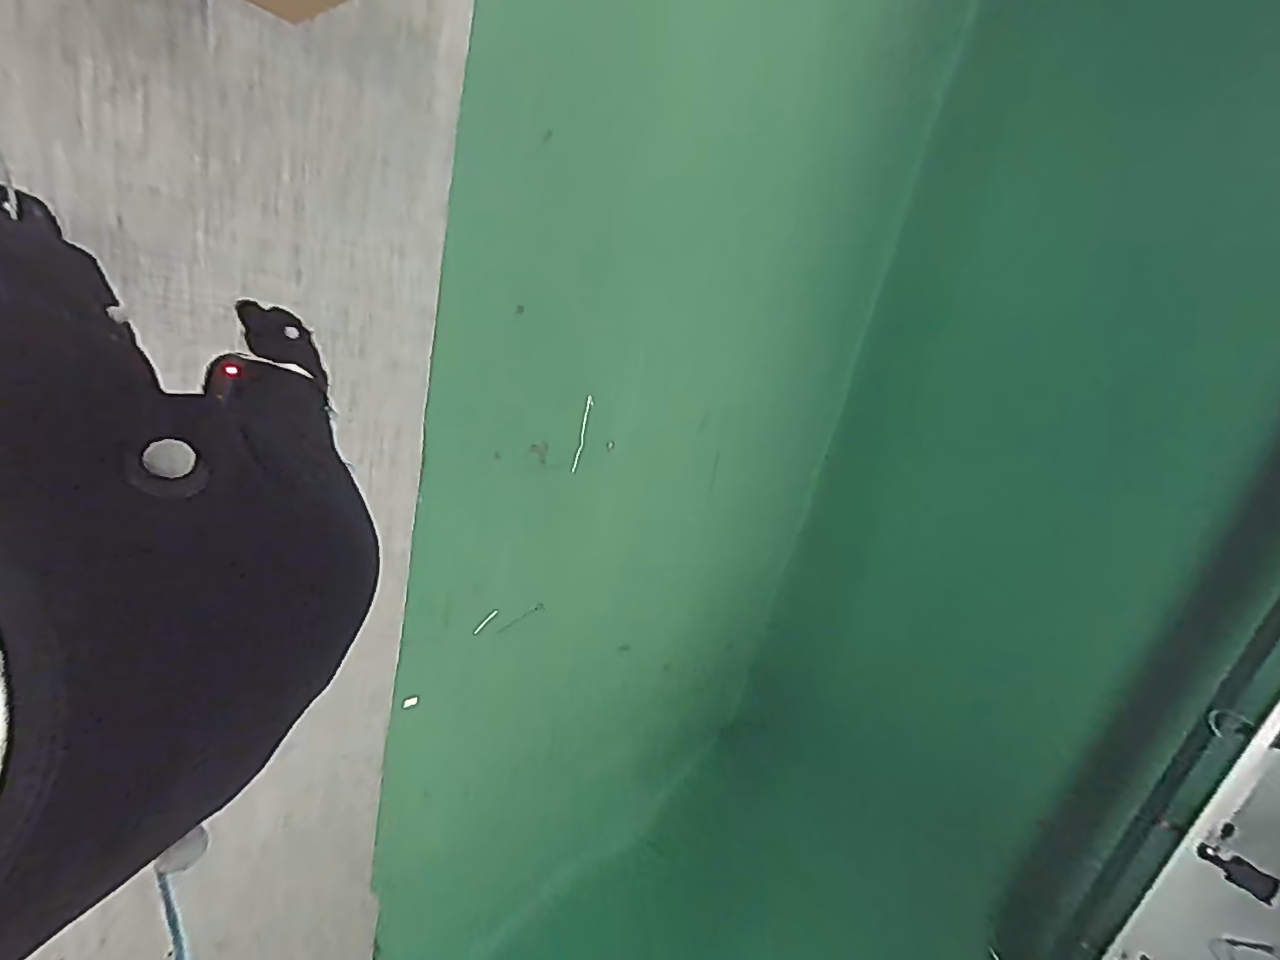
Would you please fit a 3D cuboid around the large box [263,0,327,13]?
[{"bbox_3d":[-0.621,-0.919,0.711,0.408,0.320,0.320,-4,114,-49],"label":"large box"}]
